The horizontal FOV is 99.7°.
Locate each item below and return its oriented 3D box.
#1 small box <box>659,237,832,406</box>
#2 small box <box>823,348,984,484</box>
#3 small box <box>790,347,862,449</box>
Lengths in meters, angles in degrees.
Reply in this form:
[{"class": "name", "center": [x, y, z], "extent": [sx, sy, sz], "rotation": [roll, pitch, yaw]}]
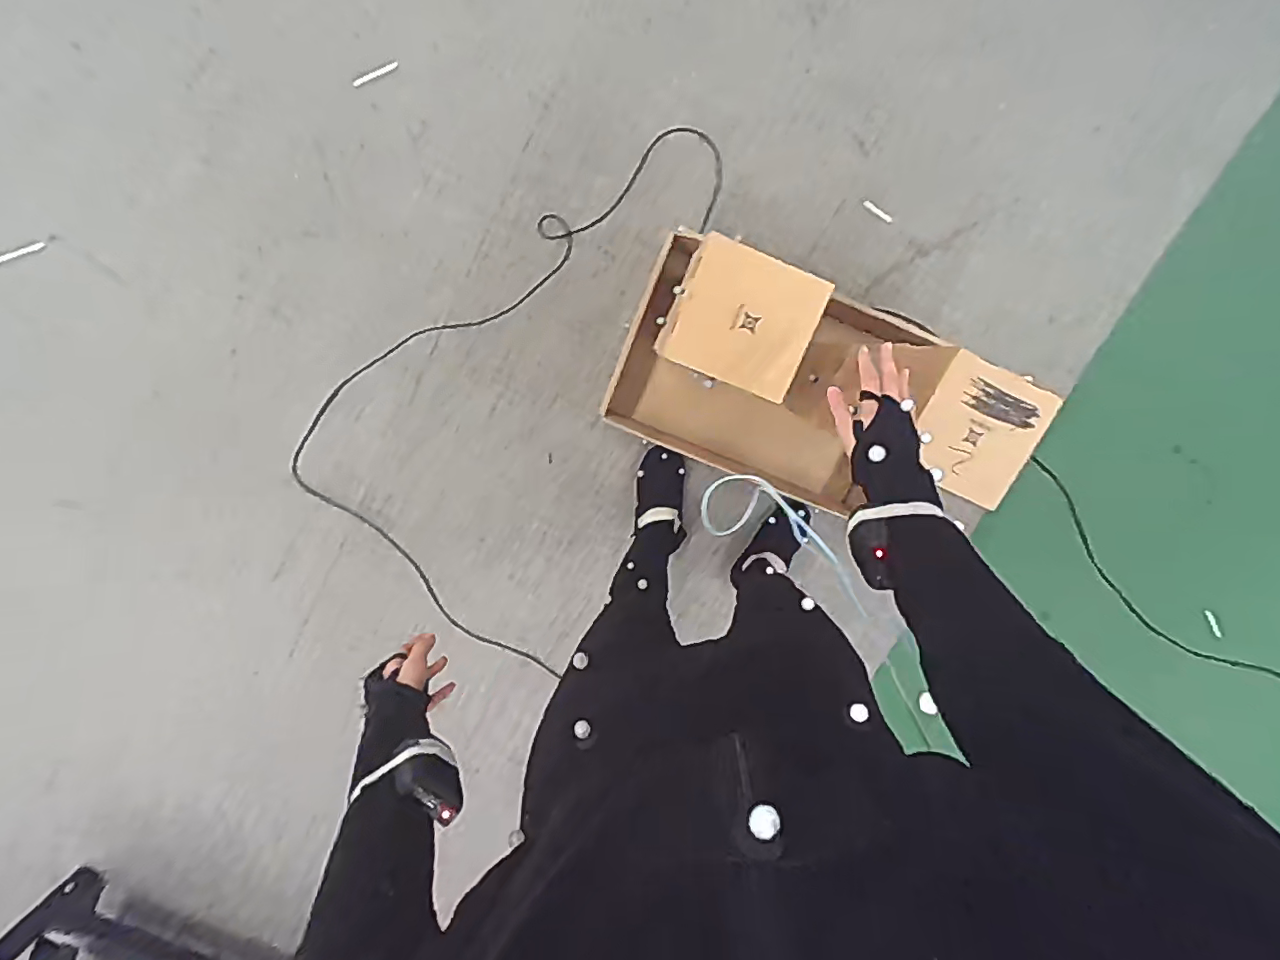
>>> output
[{"class": "small box", "center": [0.137, -0.223, 0.777], "extent": [0.179, 0.176, 0.168], "rotation": [21, 103, -4]}, {"class": "small box", "center": [0.454, -0.119, 0.968], "extent": [0.168, 0.176, 0.179], "rotation": [26, 100, -7]}, {"class": "small box", "center": [0.439, -0.161, 1.126], "extent": [0.179, 0.176, 0.168], "rotation": [26, 101, -5]}]
